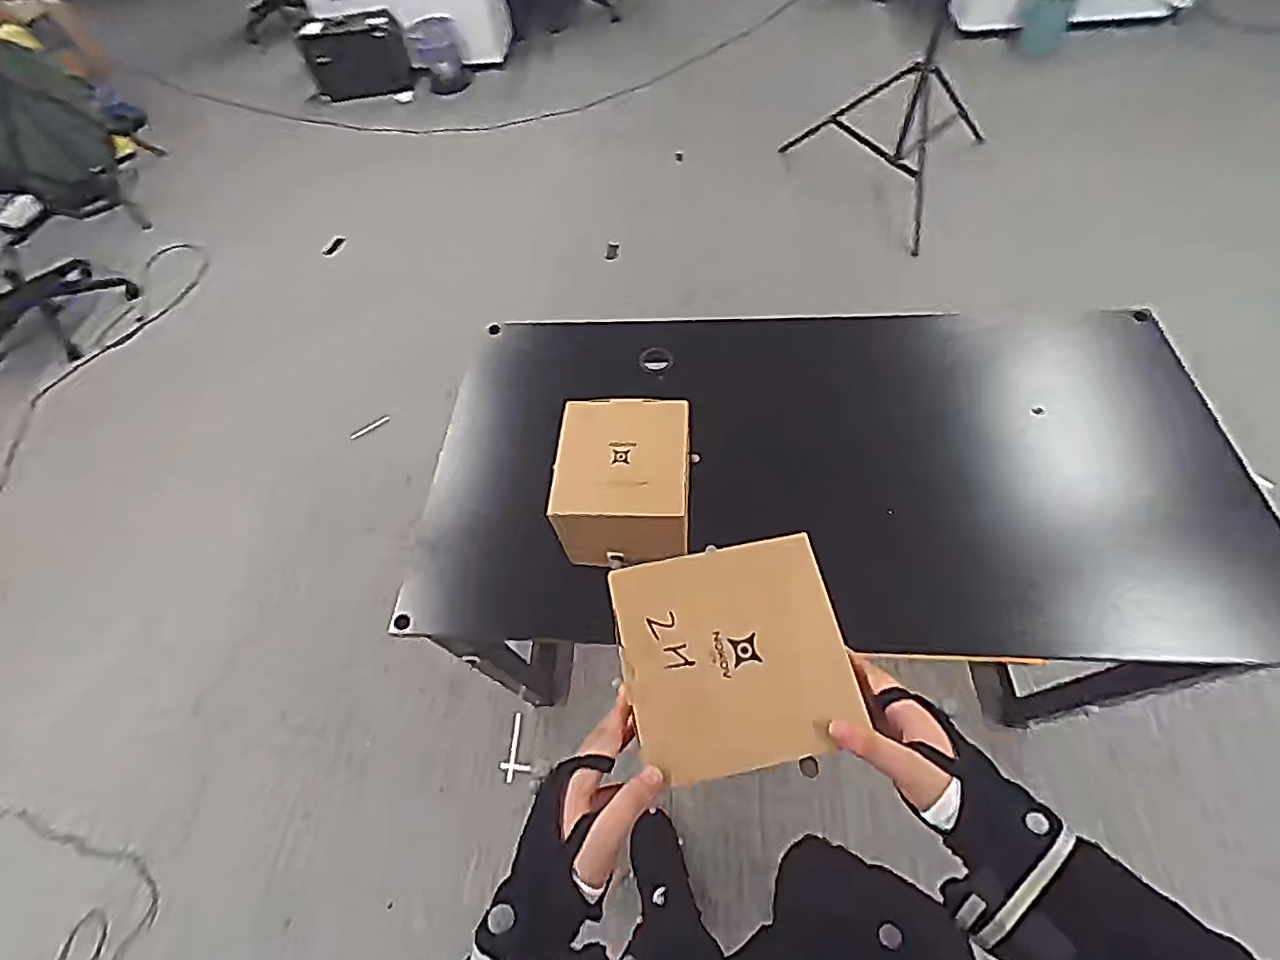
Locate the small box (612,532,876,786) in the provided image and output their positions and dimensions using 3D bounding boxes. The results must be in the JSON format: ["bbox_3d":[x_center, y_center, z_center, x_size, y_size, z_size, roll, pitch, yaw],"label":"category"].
[{"bbox_3d":[0.074,0.161,0.489,0.179,0.176,0.168,-10,66,-3],"label":"small box"}]

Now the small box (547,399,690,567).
[{"bbox_3d":[-0.018,0.009,0.739,0.168,0.176,0.179,0,60,6],"label":"small box"}]
